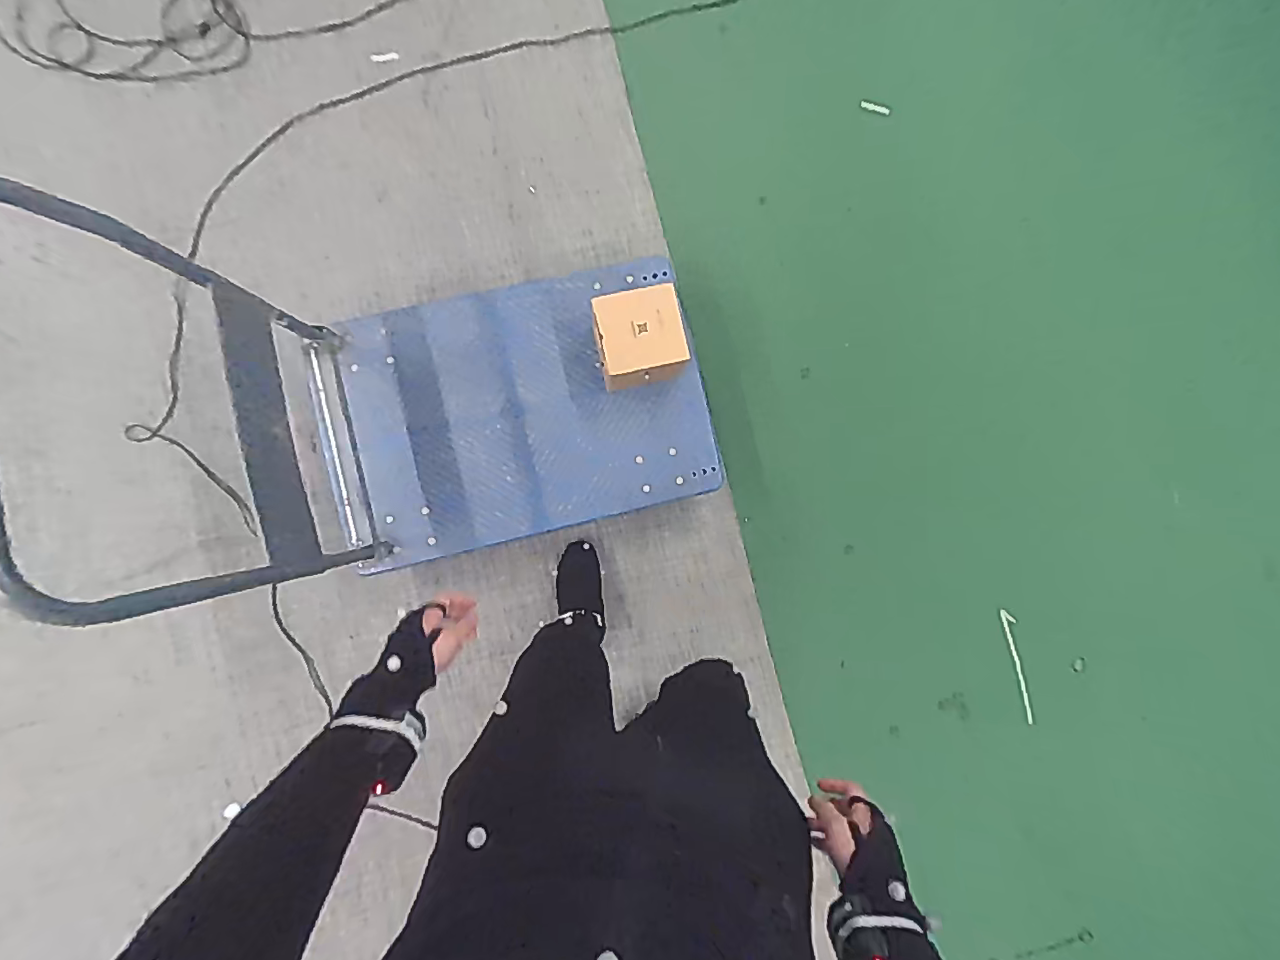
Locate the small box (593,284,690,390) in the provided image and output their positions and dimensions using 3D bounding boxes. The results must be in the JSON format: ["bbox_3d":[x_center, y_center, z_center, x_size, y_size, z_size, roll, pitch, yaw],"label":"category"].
[{"bbox_3d":[0.000,-0.305,1.187,0.179,0.176,0.168,-12,88,-4],"label":"small box"}]
